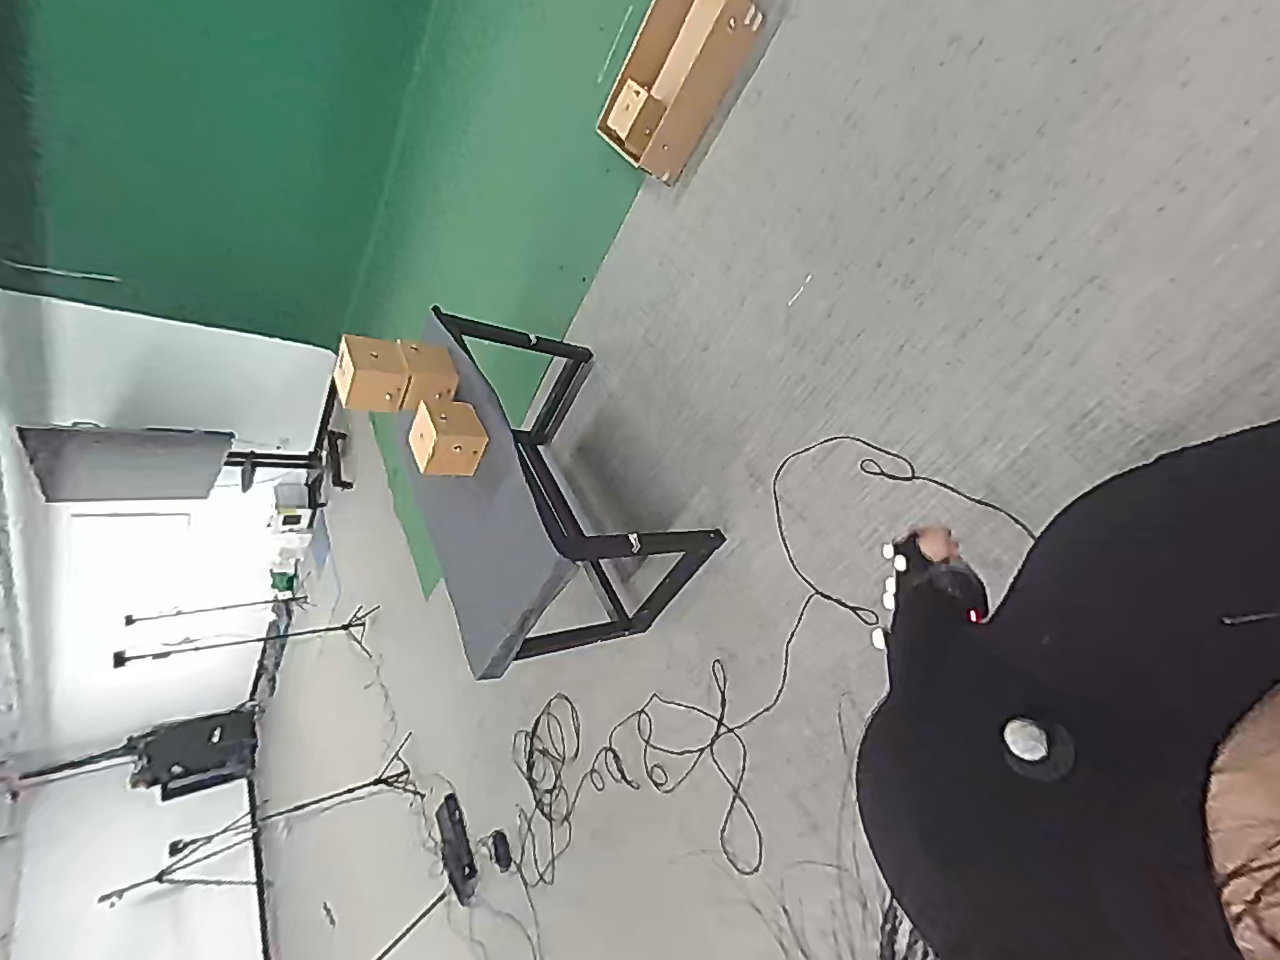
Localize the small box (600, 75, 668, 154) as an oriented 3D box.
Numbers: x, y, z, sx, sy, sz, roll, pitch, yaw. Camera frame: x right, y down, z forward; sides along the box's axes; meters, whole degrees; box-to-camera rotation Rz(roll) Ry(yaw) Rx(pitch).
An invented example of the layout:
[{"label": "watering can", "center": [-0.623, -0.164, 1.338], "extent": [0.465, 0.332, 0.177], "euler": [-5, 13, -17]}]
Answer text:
[{"label": "small box", "center": [-0.021, -1.407, 2.094], "extent": [0.179, 0.176, 0.168], "euler": [-53, 55, 31]}]

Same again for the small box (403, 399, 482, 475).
[{"label": "small box", "center": [-0.617, -0.132, 1.691], "extent": [0.168, 0.176, 0.179], "euler": [-56, 52, 30]}]

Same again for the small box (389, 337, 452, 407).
[{"label": "small box", "center": [-0.768, -0.358, 1.849], "extent": [0.168, 0.176, 0.179], "euler": [-52, 55, 34]}]

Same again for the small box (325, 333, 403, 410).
[{"label": "small box", "center": [-0.887, -0.341, 1.737], "extent": [0.168, 0.176, 0.179], "euler": [-53, 56, 33]}]
